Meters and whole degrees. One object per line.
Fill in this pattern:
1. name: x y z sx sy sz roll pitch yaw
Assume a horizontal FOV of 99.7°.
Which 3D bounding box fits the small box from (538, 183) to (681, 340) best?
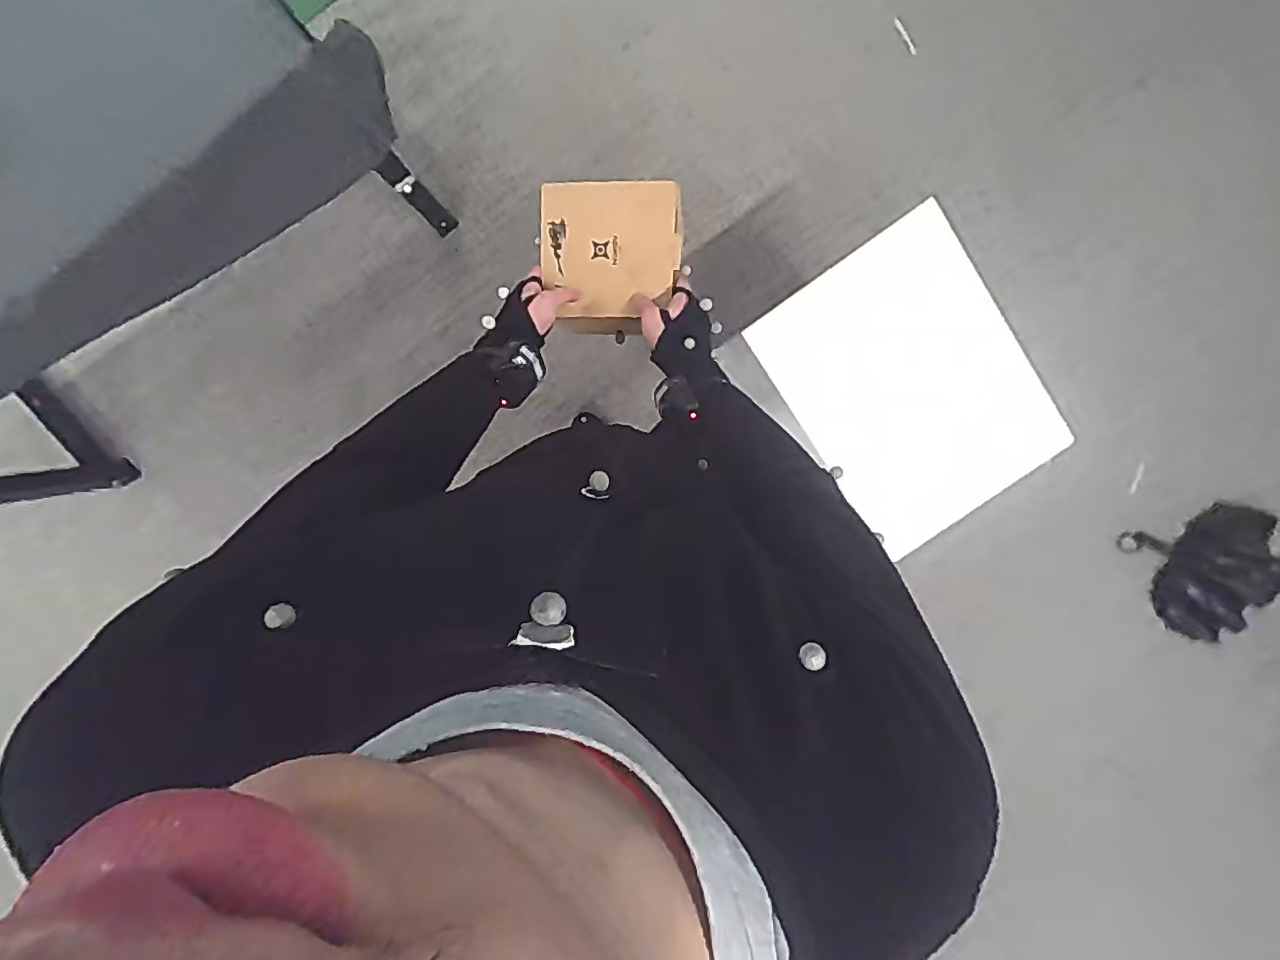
1. small box: -0.035 -0.287 0.740 0.179 0.176 0.168 1 97 3
